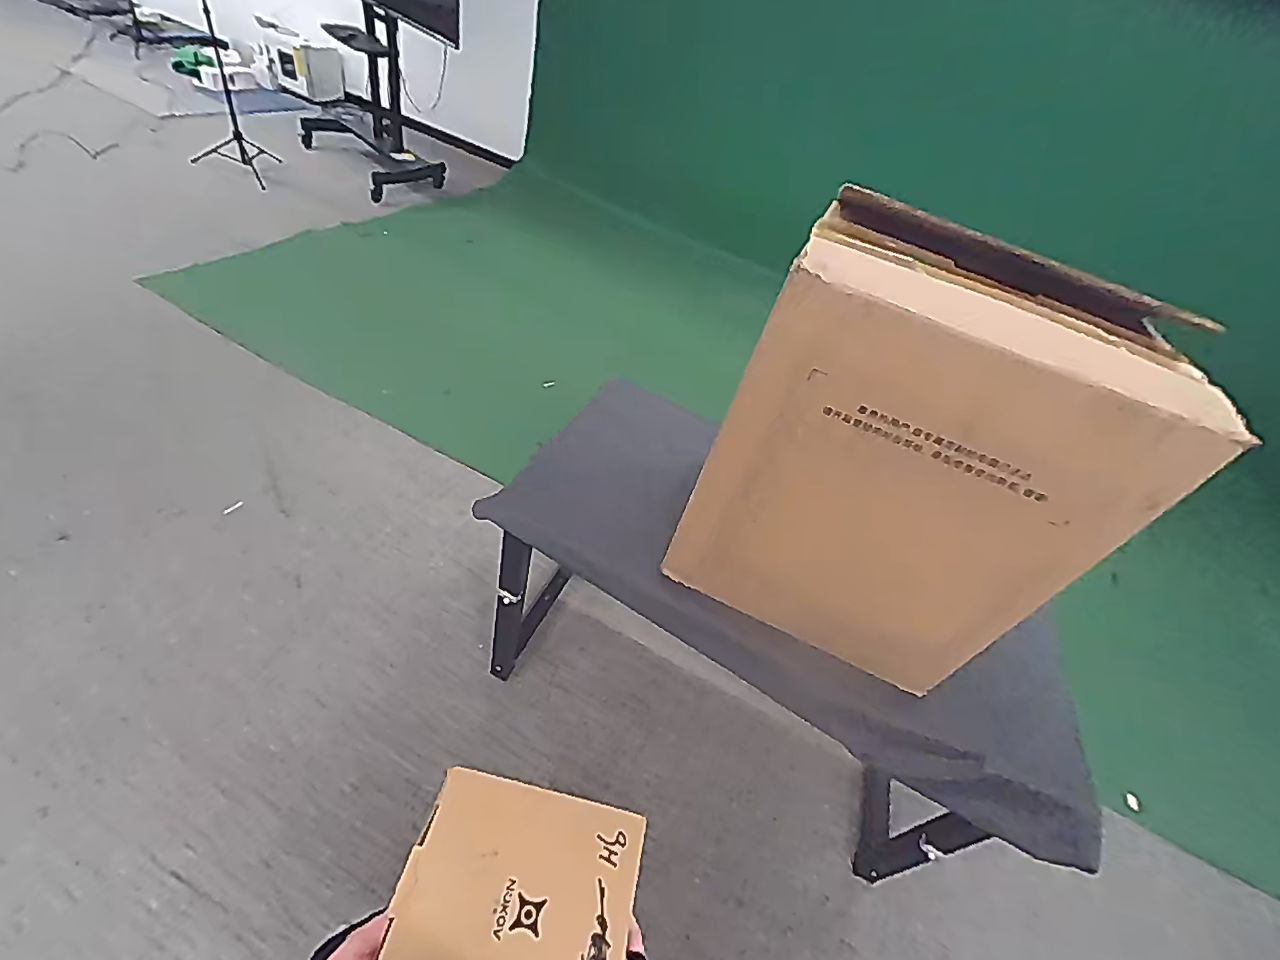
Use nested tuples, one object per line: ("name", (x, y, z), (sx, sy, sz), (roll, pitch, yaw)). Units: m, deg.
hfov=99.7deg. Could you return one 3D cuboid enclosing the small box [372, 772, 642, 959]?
("small box", (-0.113, 0.382, 0.468), (0.179, 0.176, 0.168), (17, 48, -2))
